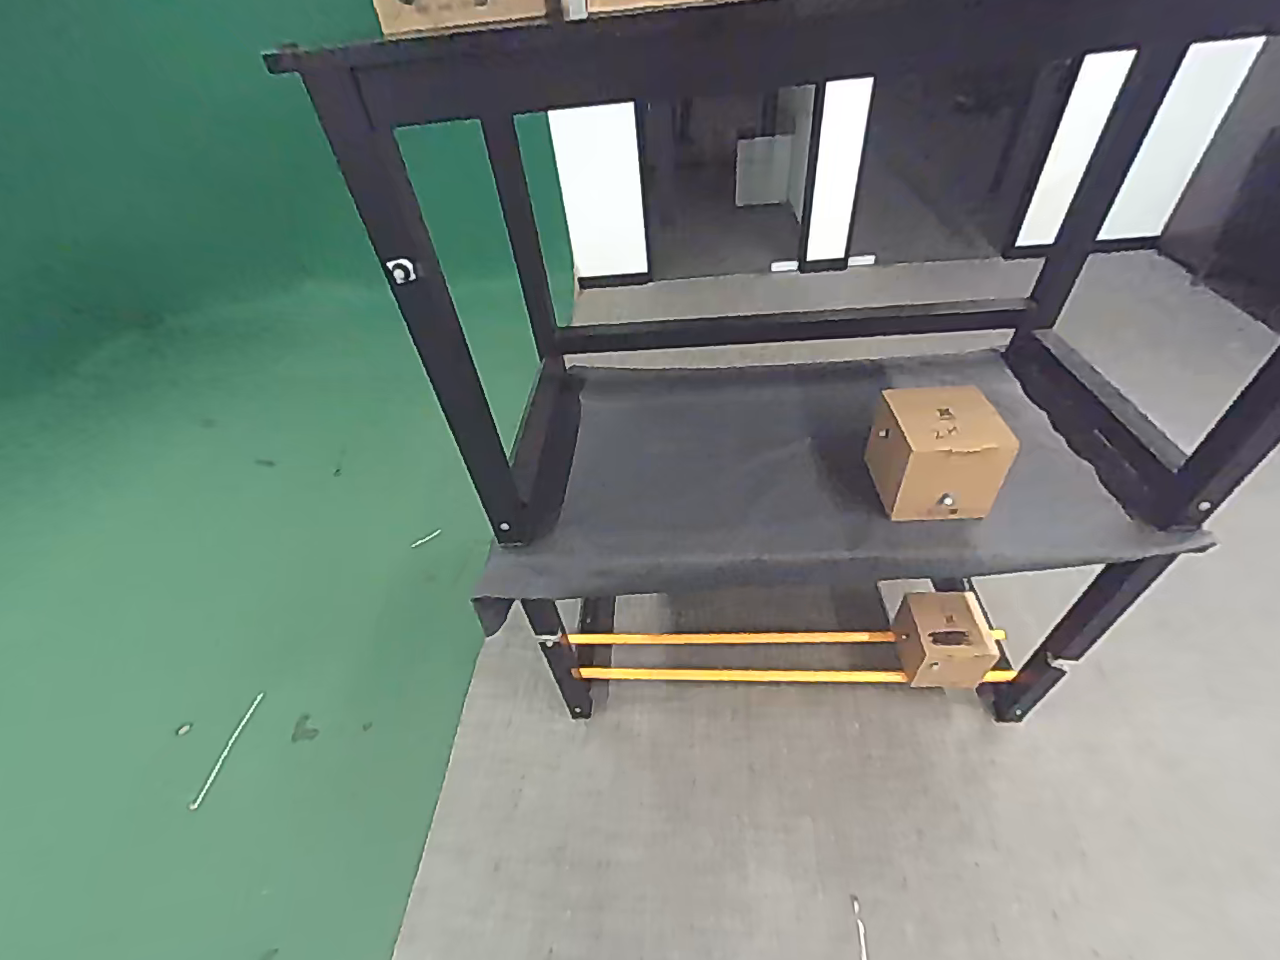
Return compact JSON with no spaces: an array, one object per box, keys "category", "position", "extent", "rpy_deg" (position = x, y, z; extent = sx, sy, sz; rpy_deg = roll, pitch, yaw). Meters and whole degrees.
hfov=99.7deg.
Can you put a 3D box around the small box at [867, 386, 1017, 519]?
[{"category":"small box","position":[0.525,-0.050,0.974],"extent":[0.168,0.176,0.179],"rpy_deg":[-3,42,6]}]

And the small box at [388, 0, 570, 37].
[{"category":"small box","position":[-0.172,-0.563,0.543],"extent":[0.168,0.176,0.179],"rpy_deg":[-3,42,5]}]
